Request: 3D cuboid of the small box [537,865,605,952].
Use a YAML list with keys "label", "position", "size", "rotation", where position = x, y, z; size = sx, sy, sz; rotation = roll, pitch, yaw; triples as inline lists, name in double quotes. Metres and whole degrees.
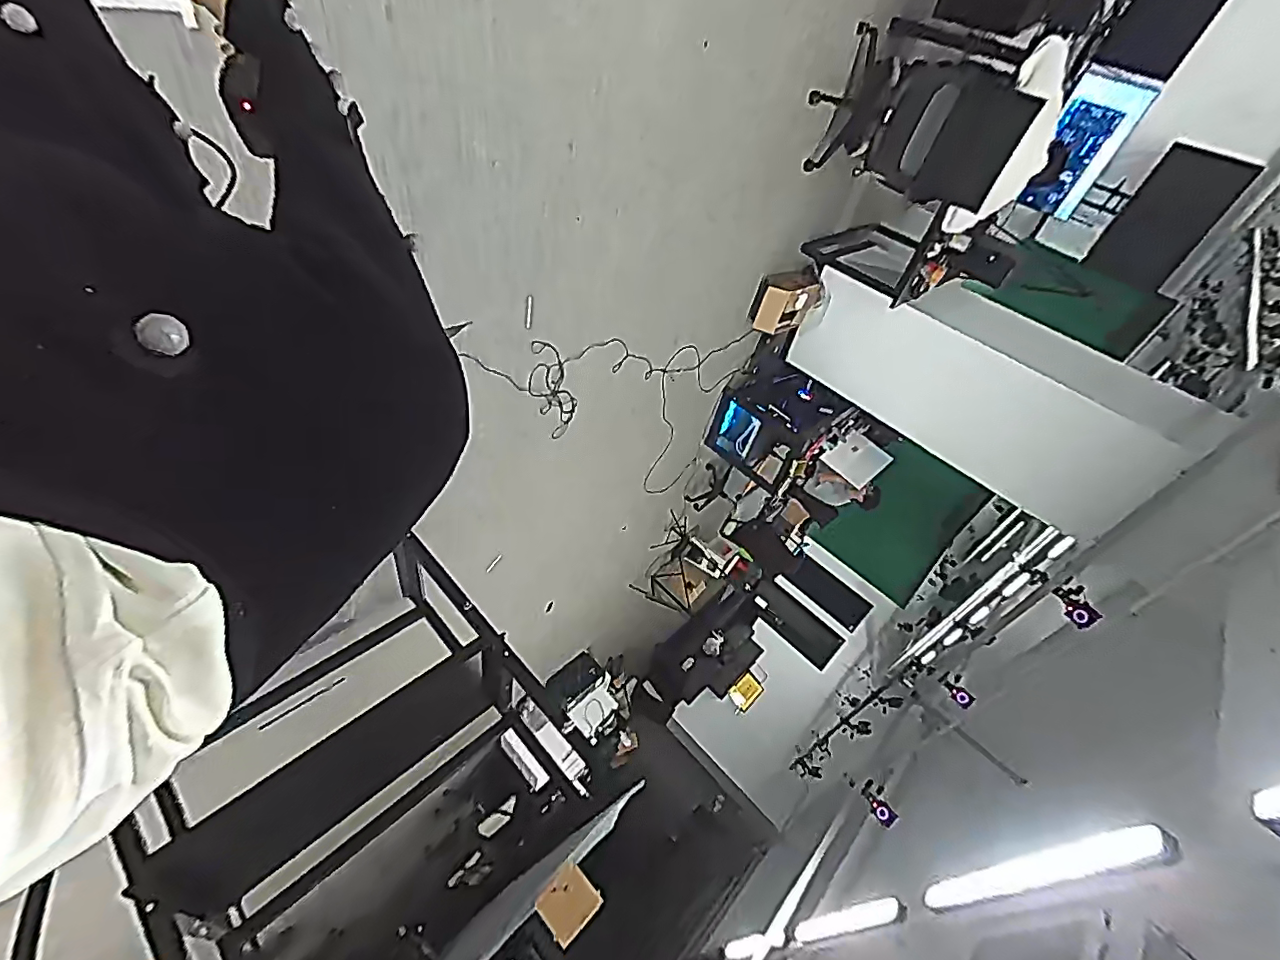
- label: "small box"
  position: [-0.247, 1.498, 1.896]
  size: [0.168, 0.176, 0.179]
  rotation: [-32, 149, -36]
